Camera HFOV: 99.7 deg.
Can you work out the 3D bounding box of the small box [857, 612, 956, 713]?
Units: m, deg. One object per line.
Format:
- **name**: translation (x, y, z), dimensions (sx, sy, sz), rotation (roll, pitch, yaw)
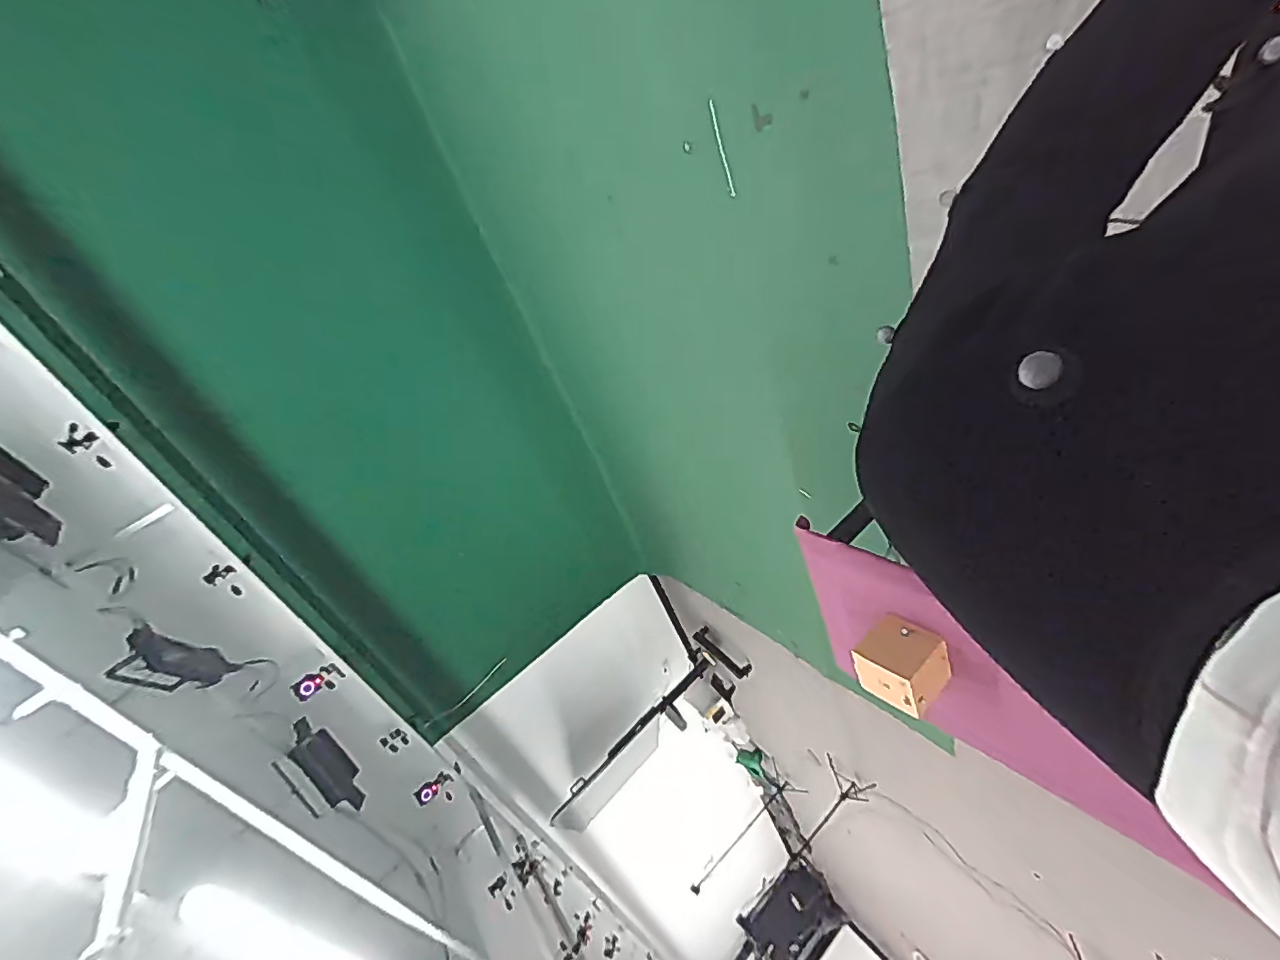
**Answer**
- **small box**: translation (0.742, 0.496, 1.503), dimensions (0.179, 0.176, 0.168), rotation (22, 144, 54)
